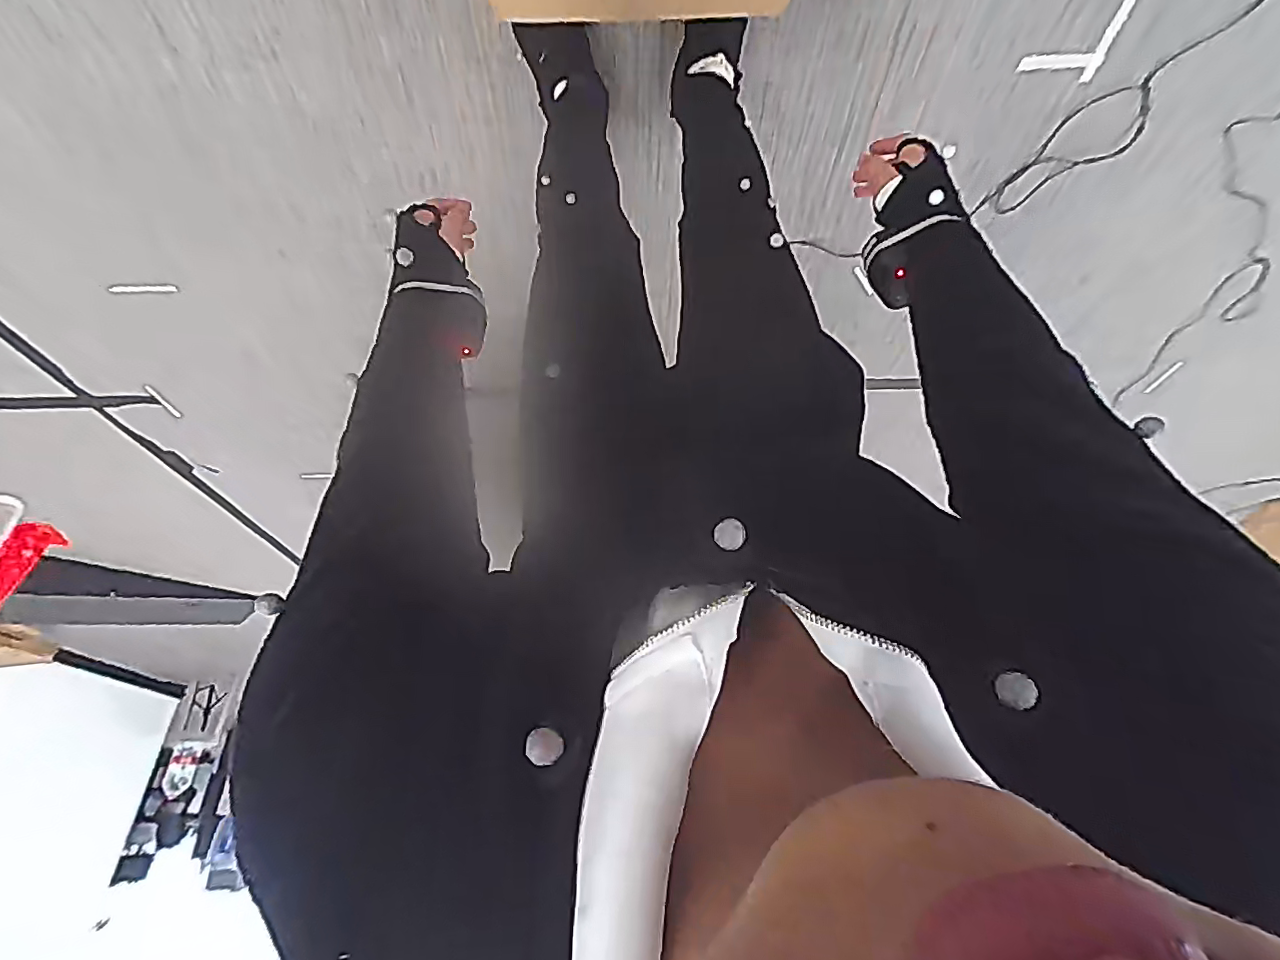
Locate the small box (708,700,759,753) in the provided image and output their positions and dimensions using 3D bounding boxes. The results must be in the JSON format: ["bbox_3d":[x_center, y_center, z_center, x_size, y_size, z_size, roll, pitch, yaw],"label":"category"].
[{"bbox_3d":[0.366,0.981,2.155,0.168,0.176,0.179,-4,147,-1],"label":"small box"}]
